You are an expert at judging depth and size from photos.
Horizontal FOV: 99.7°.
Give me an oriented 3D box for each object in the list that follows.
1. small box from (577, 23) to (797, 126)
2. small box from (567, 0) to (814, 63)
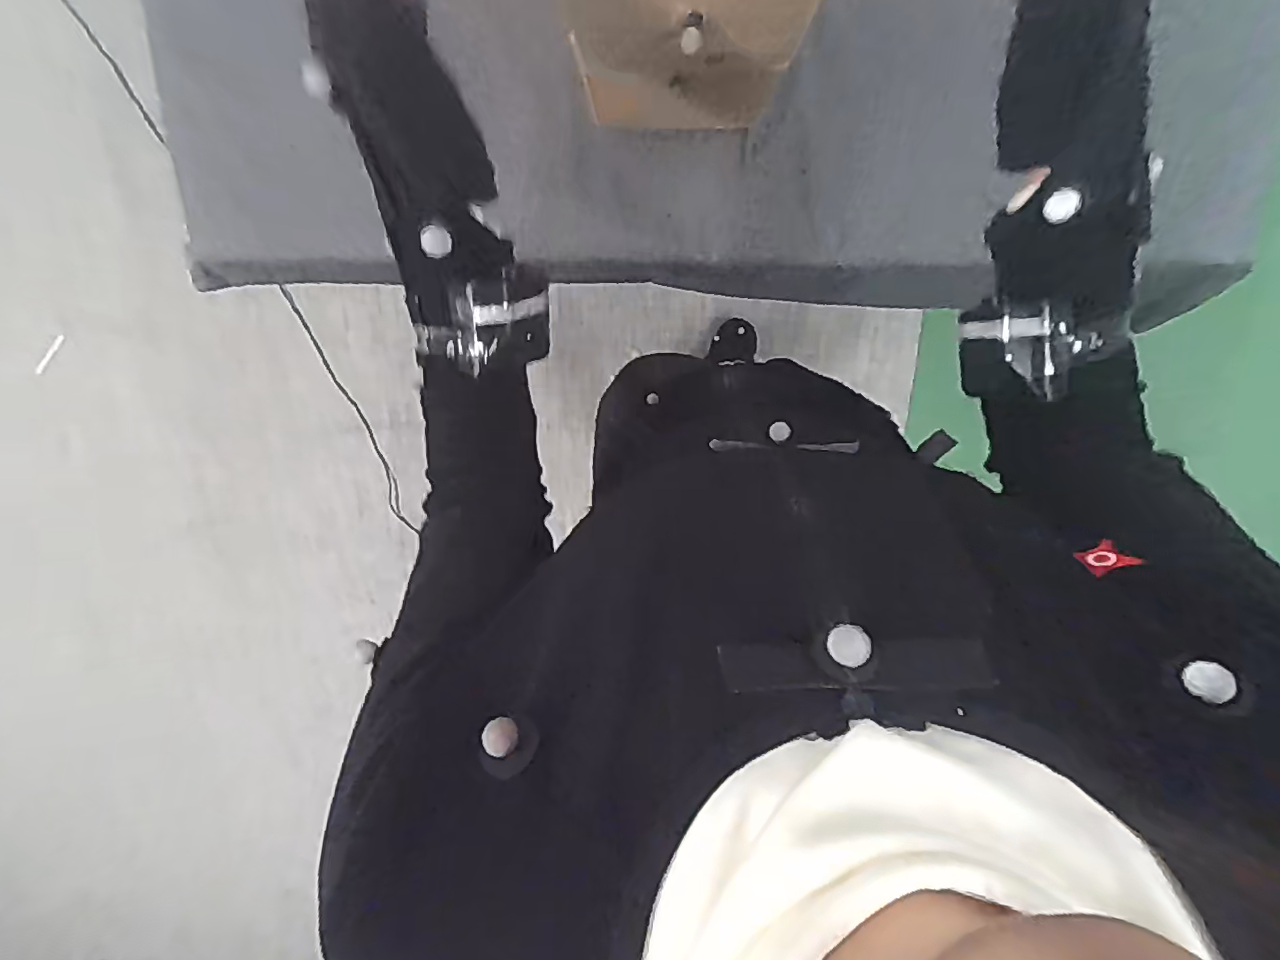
[{"bbox_3d":[0.040,-0.437,0.485,0.179,0.176,0.168,0,107,1],"label":"small box"},{"bbox_3d":[0.034,-0.385,0.330,0.168,0.176,0.179,0,108,3],"label":"small box"}]
